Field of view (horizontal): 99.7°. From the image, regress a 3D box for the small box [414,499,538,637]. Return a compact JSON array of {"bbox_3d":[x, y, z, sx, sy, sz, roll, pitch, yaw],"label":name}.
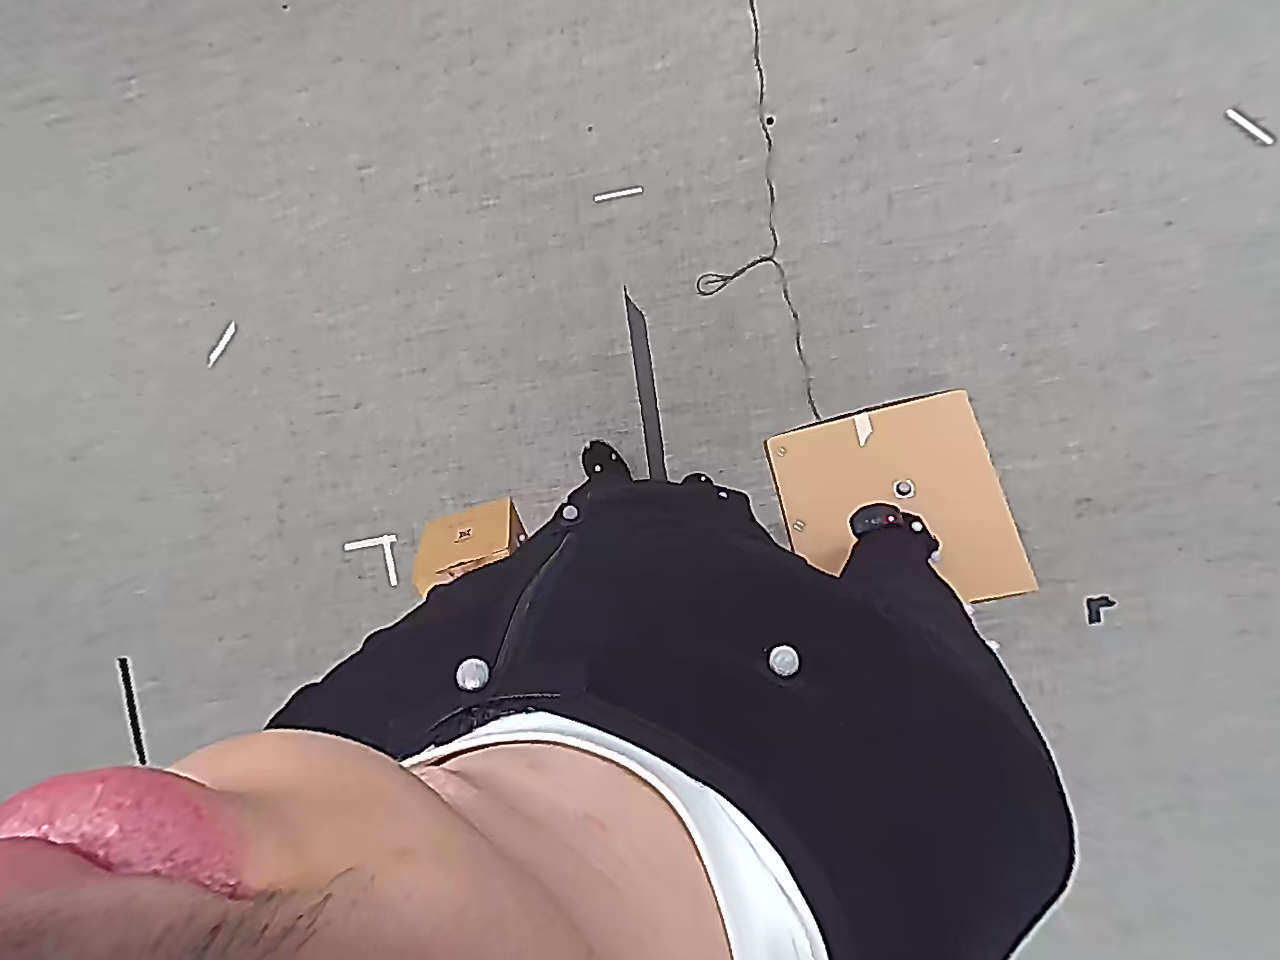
[{"bbox_3d":[-0.293,0.167,1.005,0.168,0.179,0.176,-17,119,-4],"label":"small box"}]
